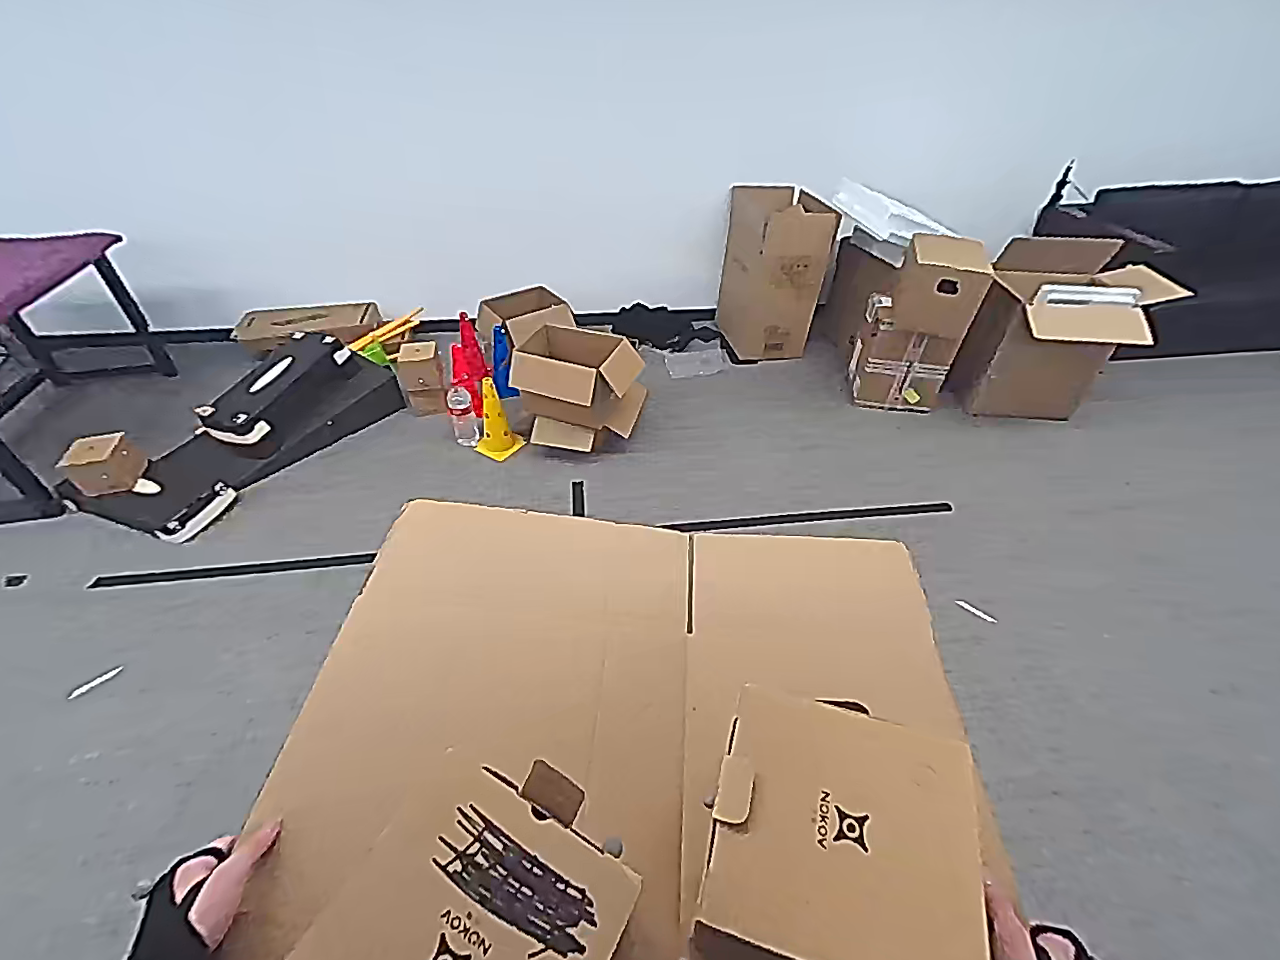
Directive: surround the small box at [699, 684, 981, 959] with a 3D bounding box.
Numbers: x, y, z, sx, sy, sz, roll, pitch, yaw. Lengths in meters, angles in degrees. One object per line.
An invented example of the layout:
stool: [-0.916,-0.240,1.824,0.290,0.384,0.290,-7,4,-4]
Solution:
small box: [0.151,0.301,0.448,0.179,0.176,0.168,10,48,15]
